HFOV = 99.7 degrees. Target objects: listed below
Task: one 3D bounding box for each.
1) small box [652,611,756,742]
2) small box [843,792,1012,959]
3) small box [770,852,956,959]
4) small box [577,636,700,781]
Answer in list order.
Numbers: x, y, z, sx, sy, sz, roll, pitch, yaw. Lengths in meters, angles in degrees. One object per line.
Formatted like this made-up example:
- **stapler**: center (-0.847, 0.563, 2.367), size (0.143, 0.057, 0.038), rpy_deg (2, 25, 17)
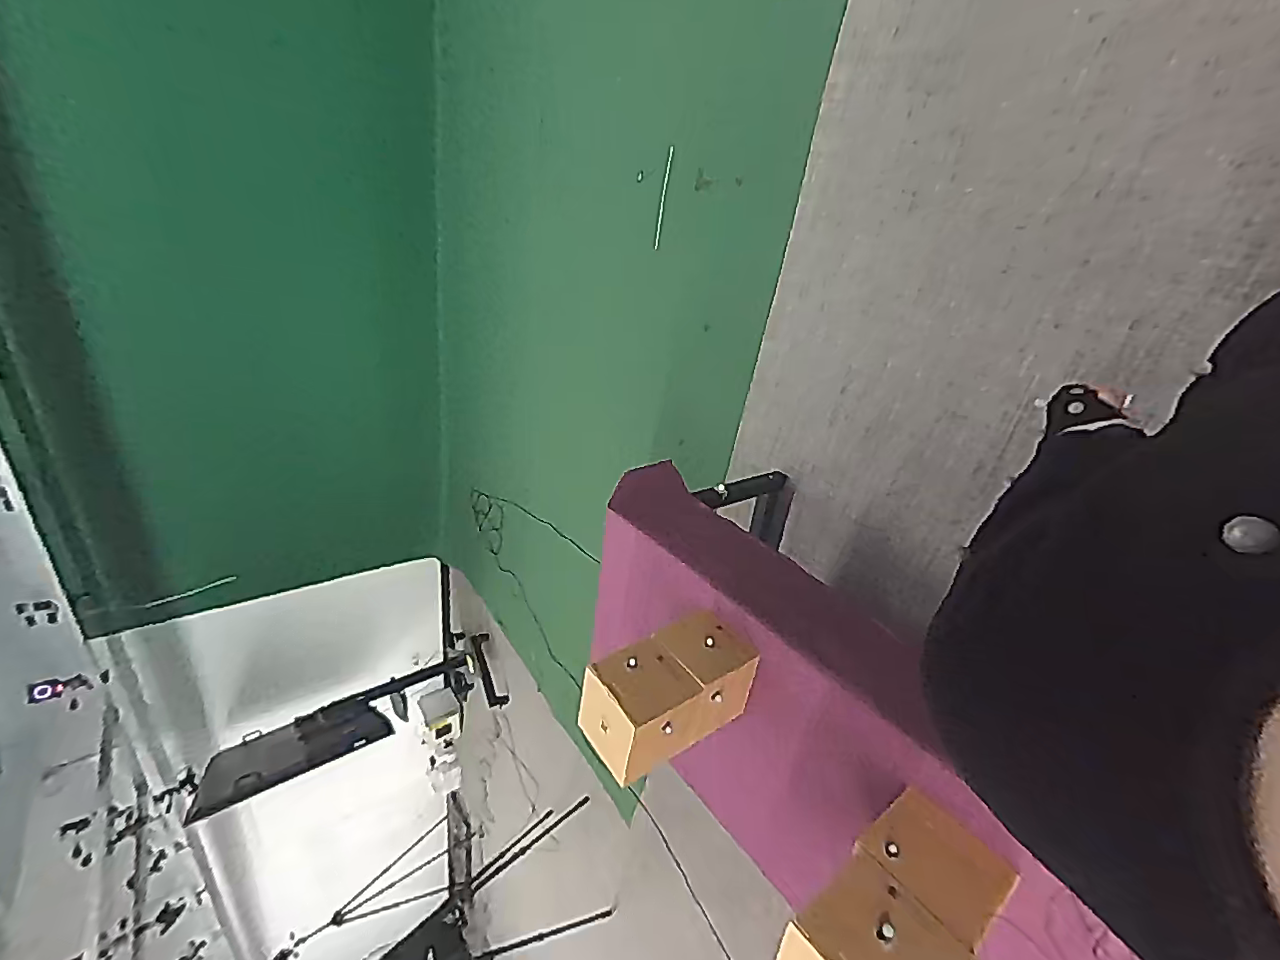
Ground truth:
- **small box**: center (0.127, 0.414, 1.171), size (0.168, 0.176, 0.179), rpy_deg (37, 127, 43)
- **small box**: center (0.426, 0.629, 0.829), size (0.179, 0.176, 0.168), rpy_deg (33, 125, 45)
- **small box**: center (0.297, 0.661, 0.731), size (0.168, 0.176, 0.179), rpy_deg (33, 125, 46)
- **small box**: center (-0.003, 0.444, 1.077), size (0.168, 0.176, 0.179), rpy_deg (39, 129, 42)
